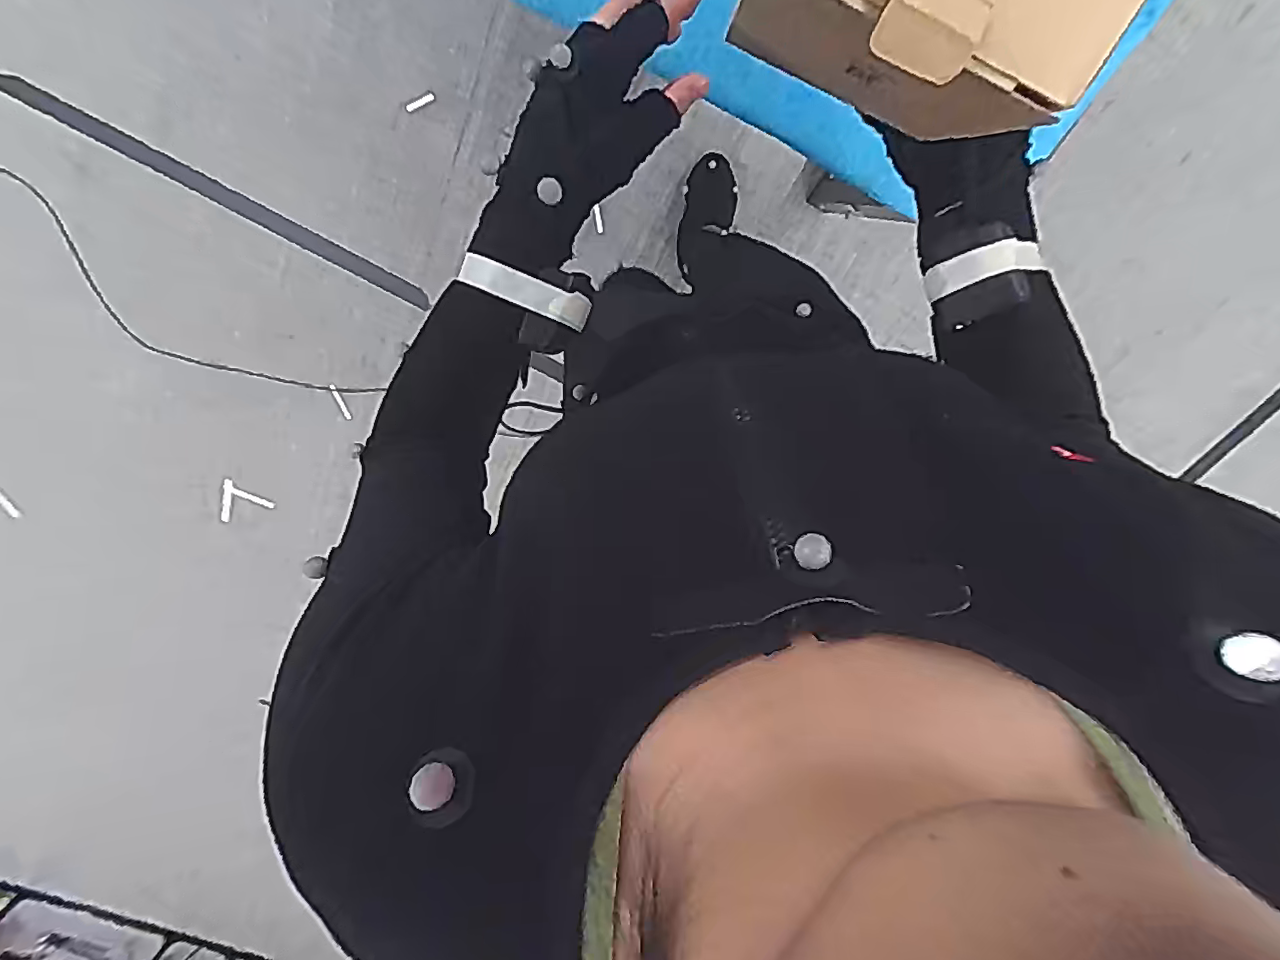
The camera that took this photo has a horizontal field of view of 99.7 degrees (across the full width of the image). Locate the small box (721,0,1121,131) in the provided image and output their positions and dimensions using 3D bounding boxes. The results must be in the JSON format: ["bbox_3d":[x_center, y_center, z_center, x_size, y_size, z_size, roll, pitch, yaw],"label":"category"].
[{"bbox_3d":[0.160,-0.316,0.284,0.168,0.179,0.176,21,118,-9],"label":"small box"}]
